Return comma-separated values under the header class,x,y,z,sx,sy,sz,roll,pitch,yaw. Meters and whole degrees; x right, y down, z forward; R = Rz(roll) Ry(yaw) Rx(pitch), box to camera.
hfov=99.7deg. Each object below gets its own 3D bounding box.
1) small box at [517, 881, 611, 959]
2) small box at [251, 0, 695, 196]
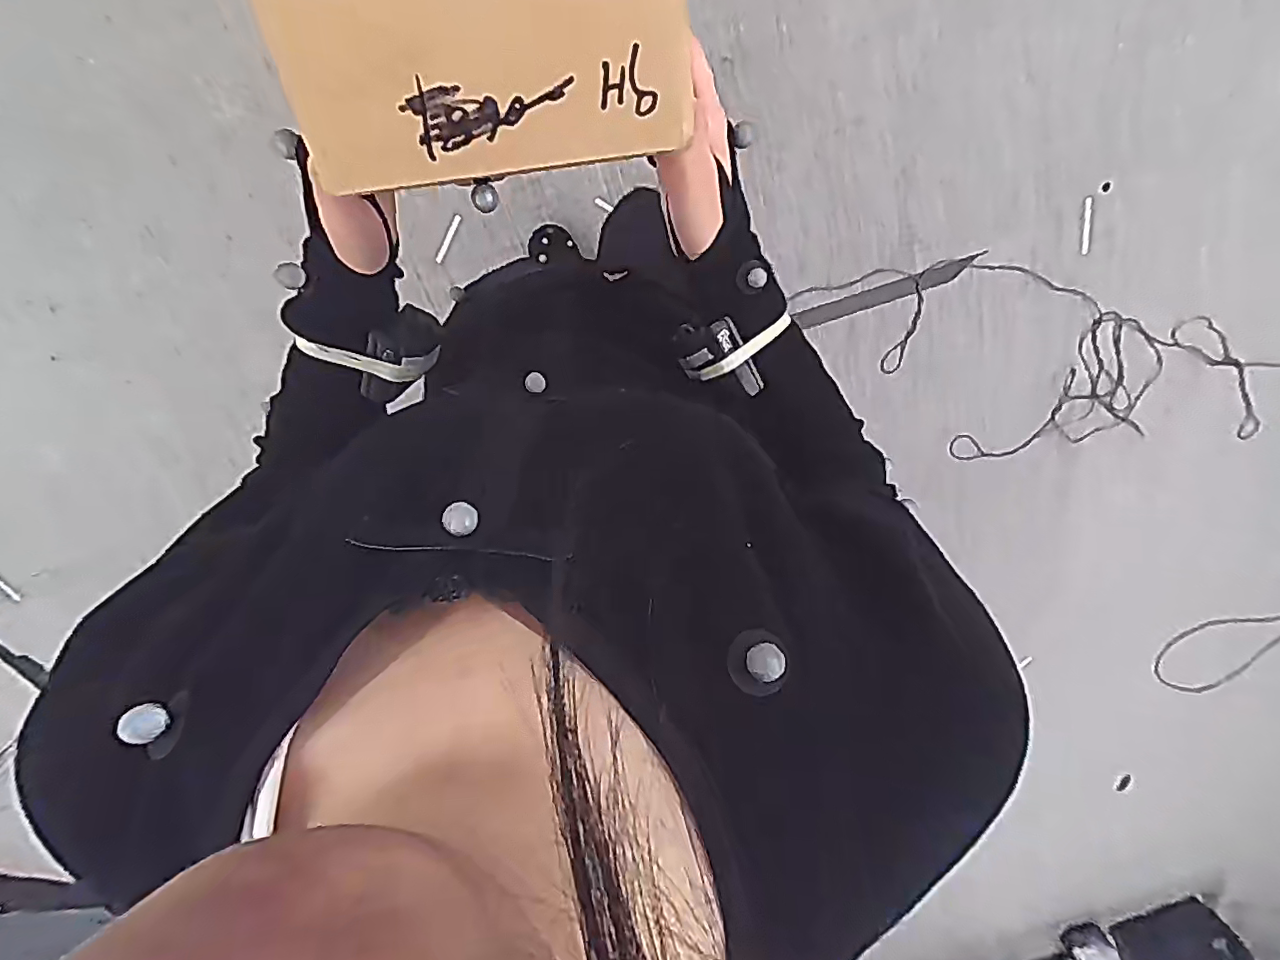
class,x,y,z,sx,sy,sz,roll,pitch,yaw
small box,-0.156,1.010,1.164,0.168,0.176,0.179,-14,117,0
small box,-0.075,-0.245,0.261,0.168,0.176,0.179,-9,121,-3
